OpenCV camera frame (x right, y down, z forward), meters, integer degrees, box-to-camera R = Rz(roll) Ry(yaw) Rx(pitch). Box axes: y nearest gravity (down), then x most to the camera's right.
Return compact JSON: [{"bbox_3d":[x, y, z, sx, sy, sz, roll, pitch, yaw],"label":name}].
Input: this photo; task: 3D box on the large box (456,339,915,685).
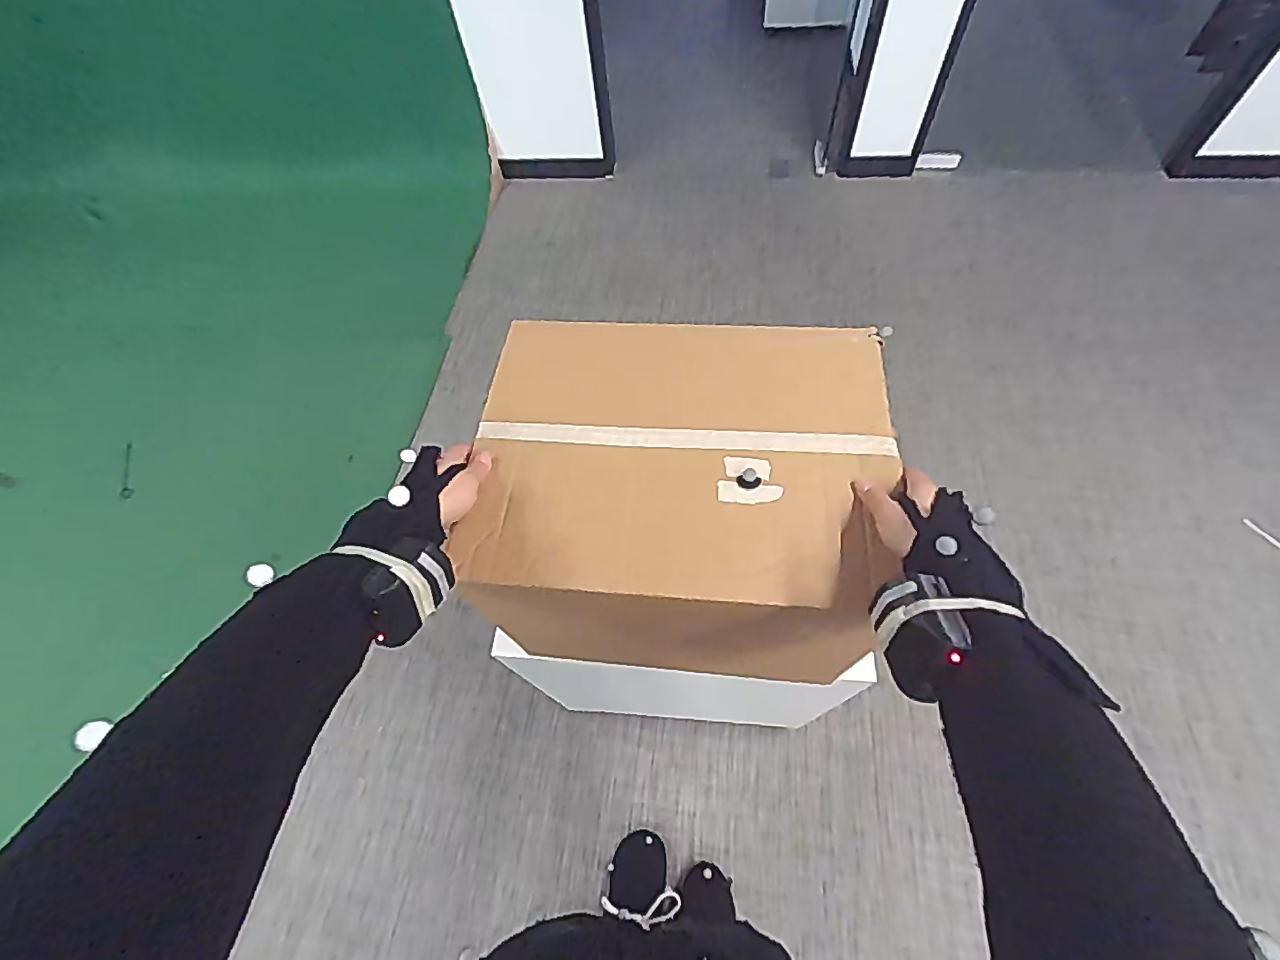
[{"bbox_3d":[0.050,0.051,0.664,0.408,0.320,0.320,3,60,5],"label":"large box"}]
